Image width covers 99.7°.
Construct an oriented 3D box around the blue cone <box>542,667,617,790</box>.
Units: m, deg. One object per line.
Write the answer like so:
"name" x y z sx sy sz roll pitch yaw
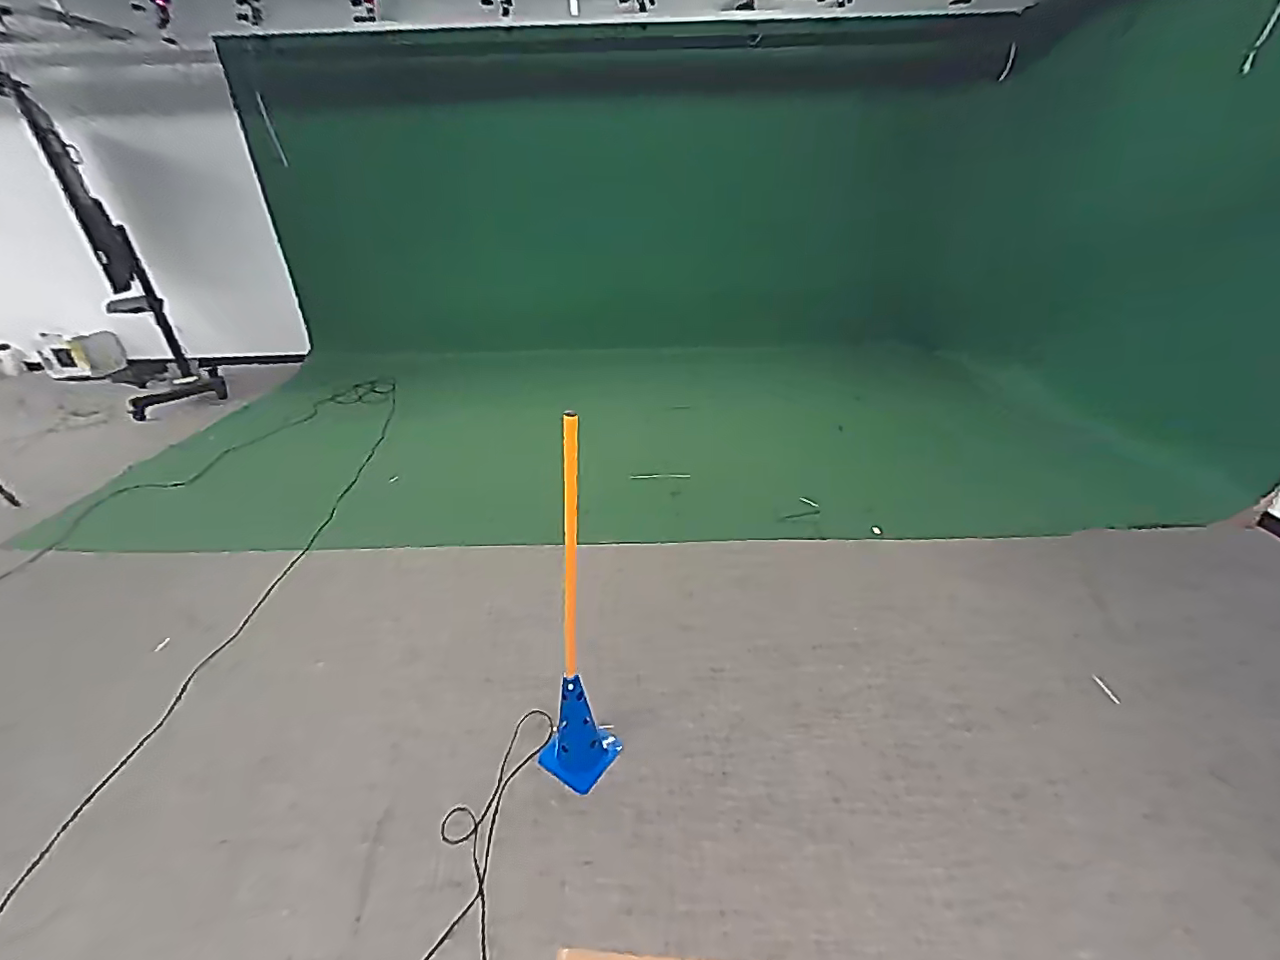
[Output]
"blue cone" -0.186 0.688 1.578 0.192 0.380 0.193 17 33 28
